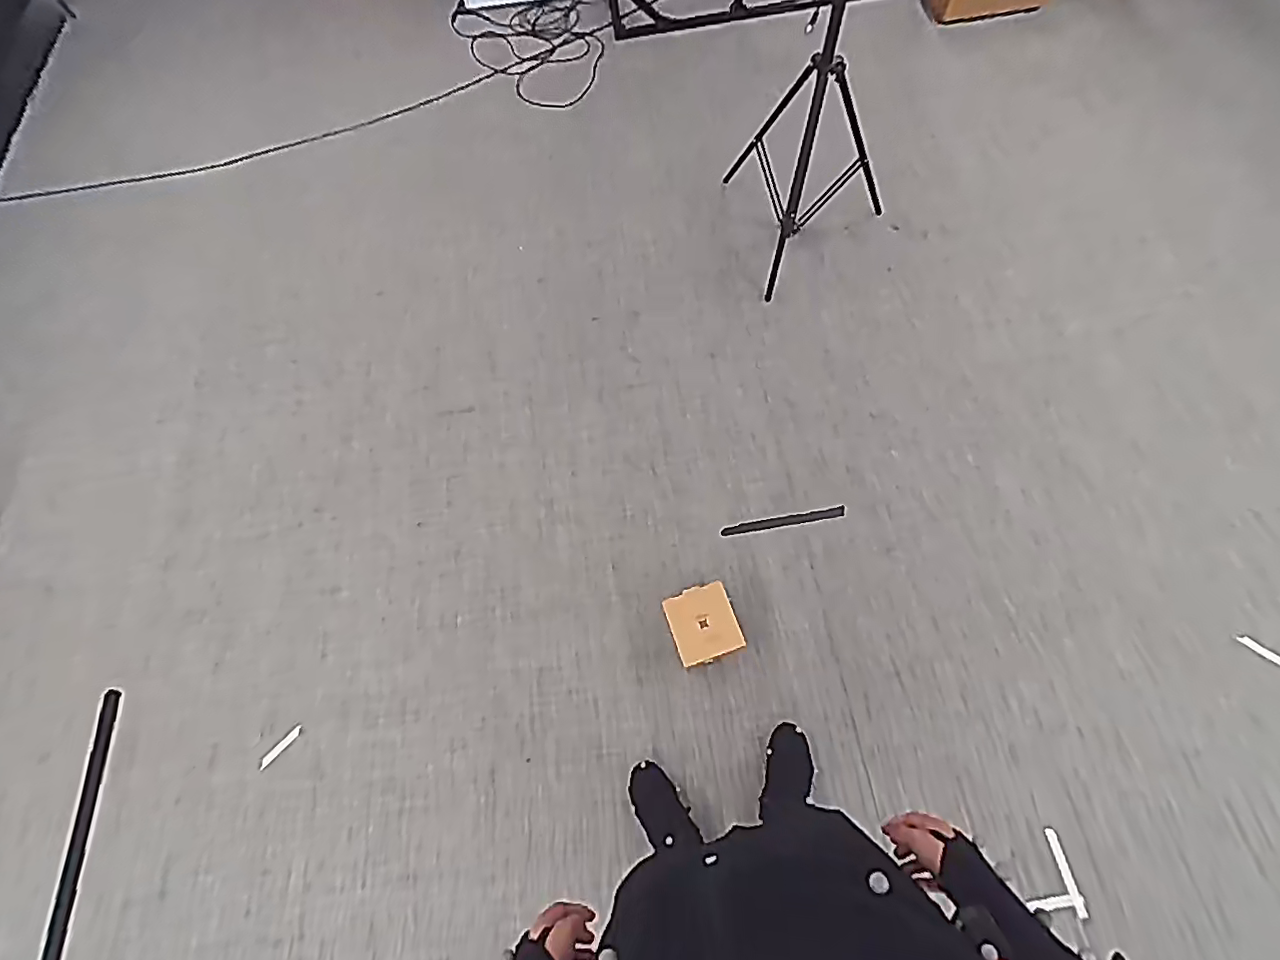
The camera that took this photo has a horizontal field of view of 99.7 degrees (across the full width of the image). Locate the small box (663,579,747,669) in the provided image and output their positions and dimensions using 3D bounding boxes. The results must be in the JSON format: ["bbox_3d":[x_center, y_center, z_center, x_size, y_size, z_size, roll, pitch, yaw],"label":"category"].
[{"bbox_3d":[0.166,0.385,1.425,0.168,0.176,0.179,-19,68,-3],"label":"small box"}]
